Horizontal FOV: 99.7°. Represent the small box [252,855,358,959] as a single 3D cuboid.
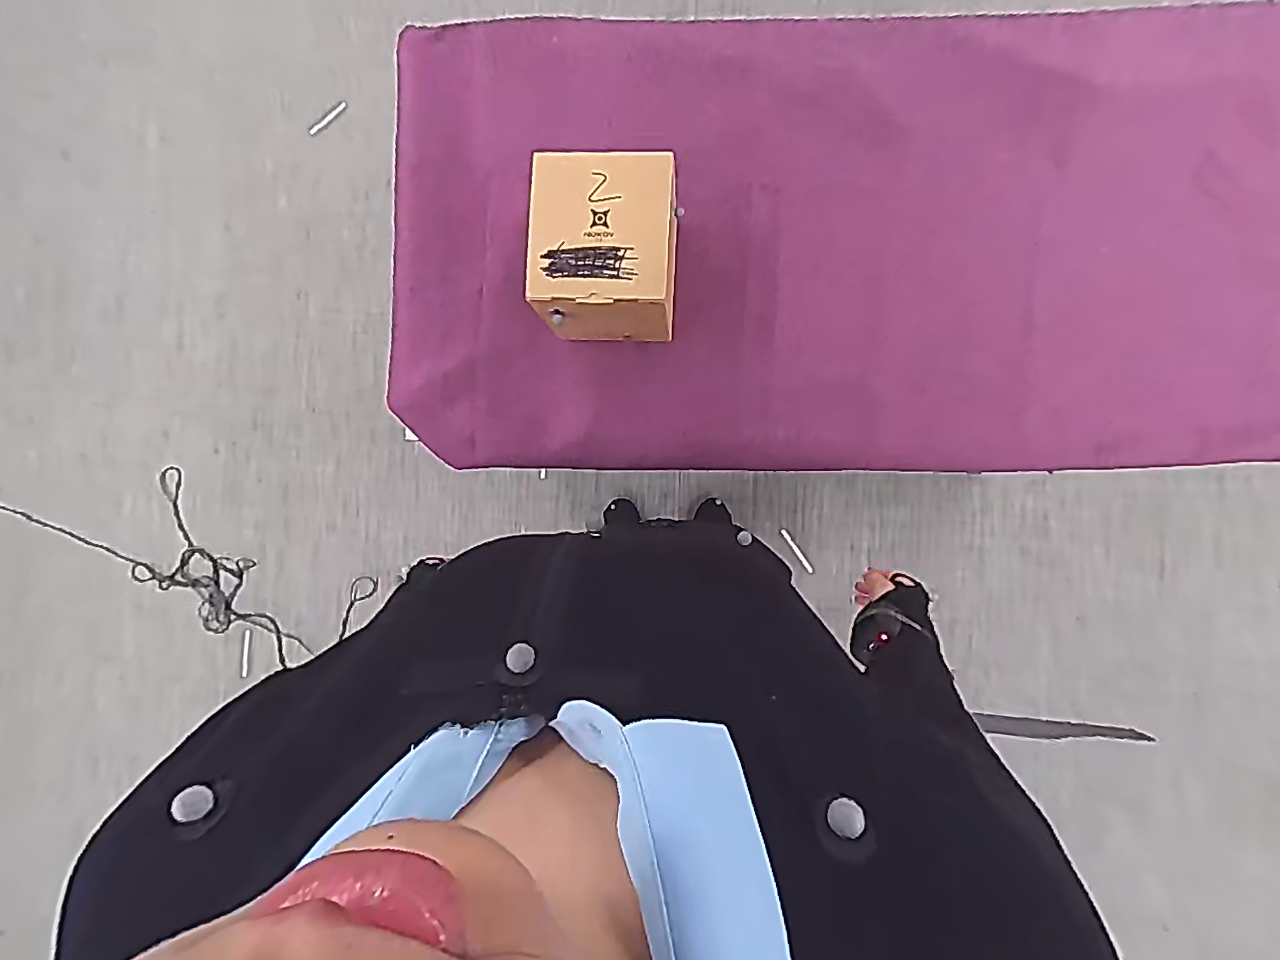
[{"bbox_3d":[-0.898,1.163,1.472,0.179,0.176,0.168,-14,88,5],"label":"small box"}]
